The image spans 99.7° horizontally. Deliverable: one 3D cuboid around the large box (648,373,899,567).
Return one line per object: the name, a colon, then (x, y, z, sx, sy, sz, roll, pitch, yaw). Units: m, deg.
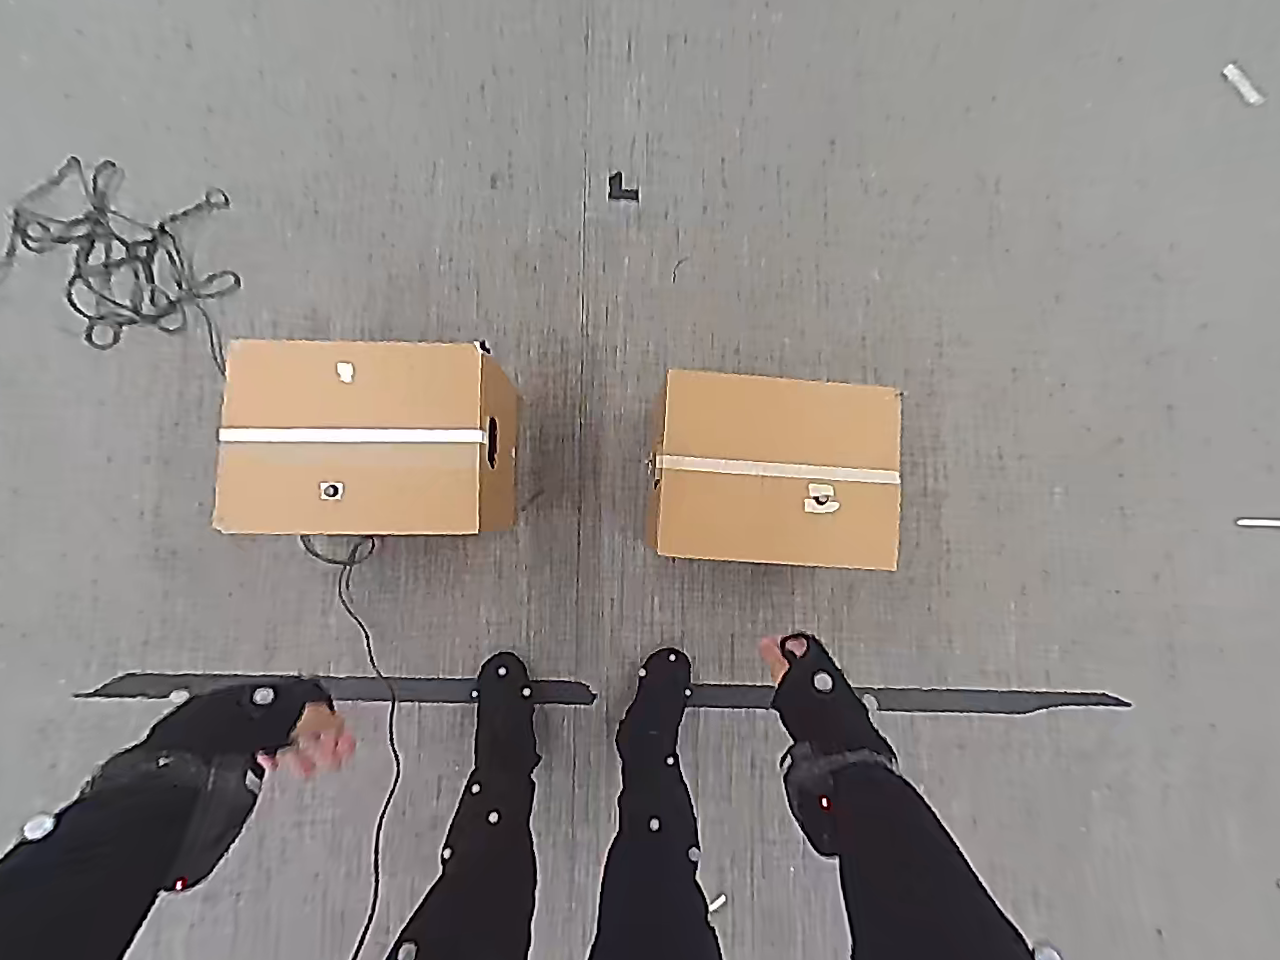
large box: (0.231, -0.003, 1.059, 0.408, 0.320, 0.320, 4, 86, -3)
